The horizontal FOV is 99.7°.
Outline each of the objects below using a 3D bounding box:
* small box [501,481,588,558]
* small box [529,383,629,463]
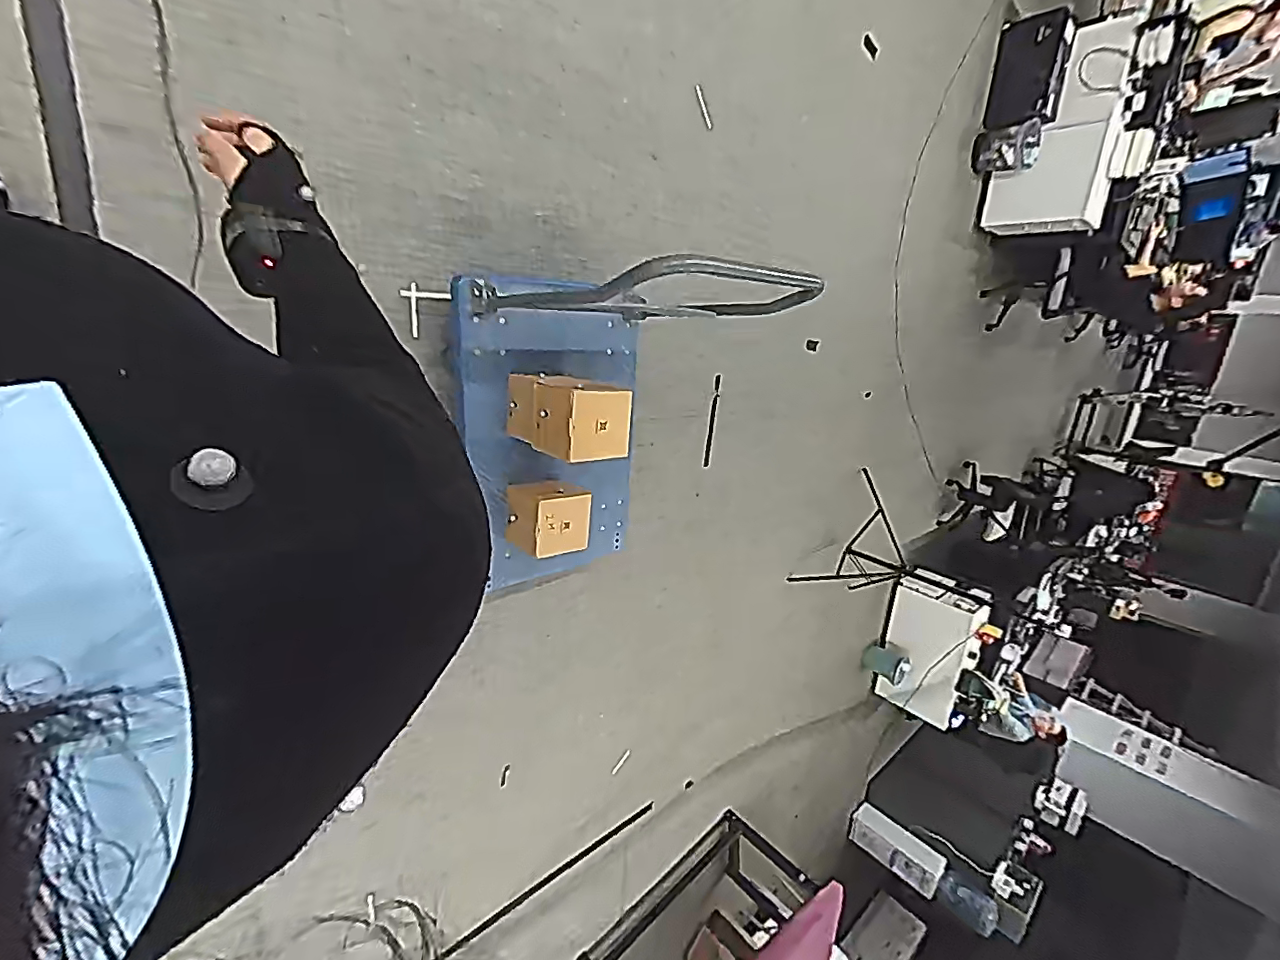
[{"bbox_3d":[-0.273,0.105,1.537,0.179,0.176,0.168,-6,108,-42],"label":"small box"},{"bbox_3d":[-0.152,-0.147,1.330,0.179,0.176,0.168,-9,111,-40],"label":"small box"}]
